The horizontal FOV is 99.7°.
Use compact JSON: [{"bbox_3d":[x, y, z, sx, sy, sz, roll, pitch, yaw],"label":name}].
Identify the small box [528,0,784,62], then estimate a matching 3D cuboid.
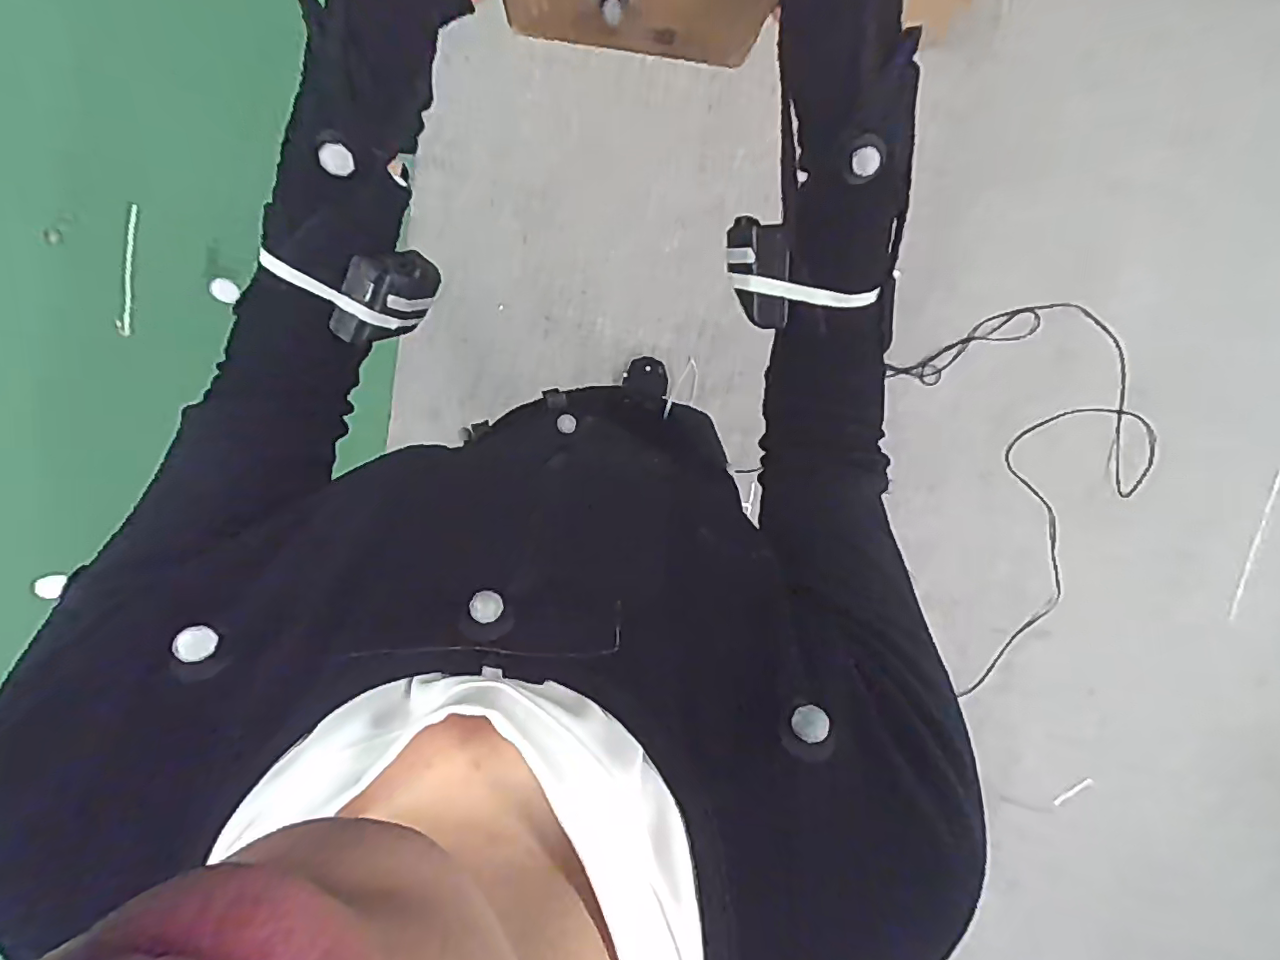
[{"bbox_3d":[0.016,-0.365,0.276,0.168,0.176,0.179,5,104,-6],"label":"small box"}]
